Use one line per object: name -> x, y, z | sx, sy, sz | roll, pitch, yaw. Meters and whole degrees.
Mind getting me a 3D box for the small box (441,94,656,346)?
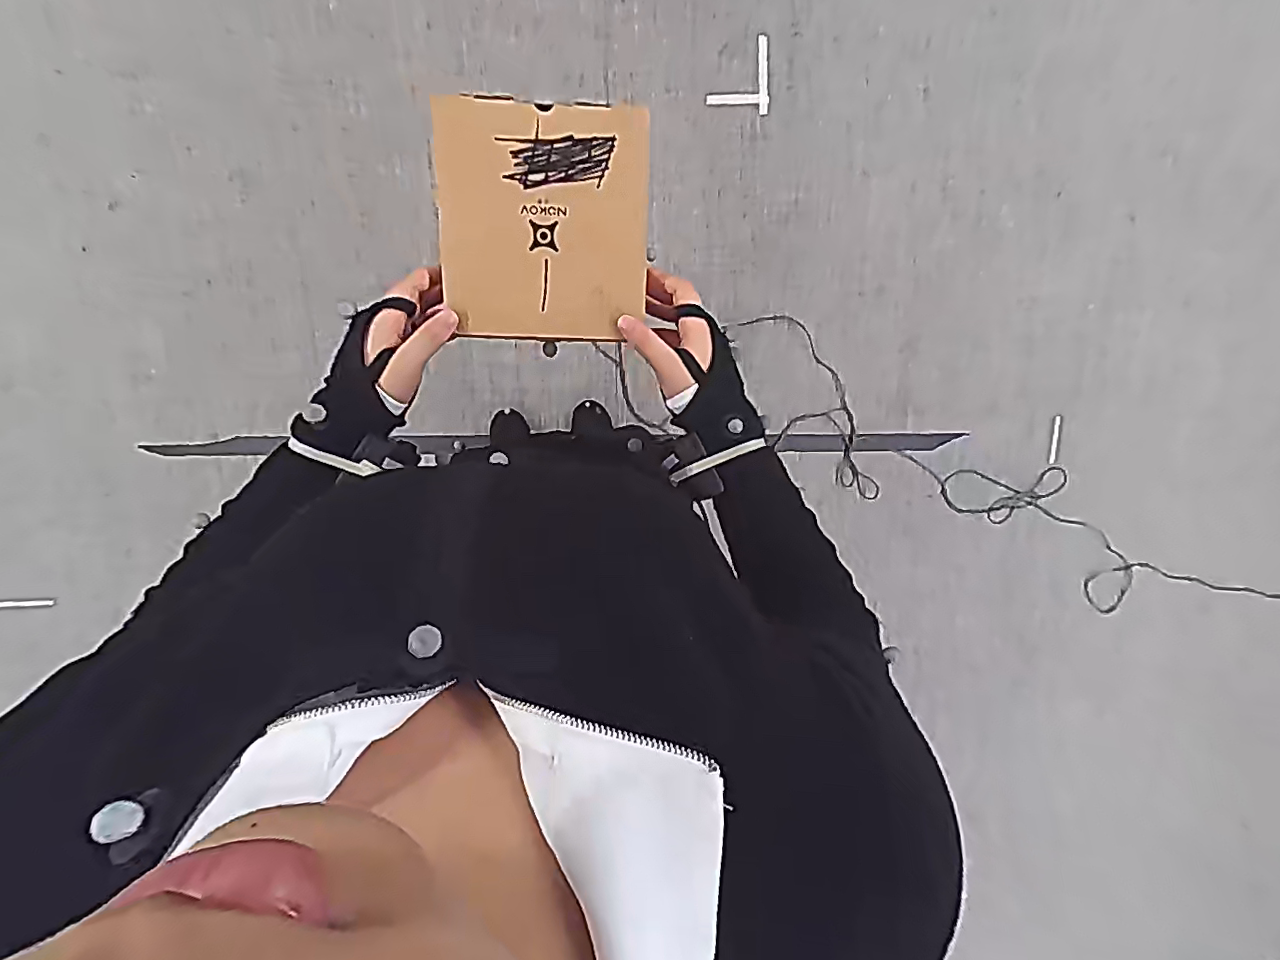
small box -> -0.080, -0.220, 0.506 | 0.168, 0.176, 0.179 | 1, 104, -5
